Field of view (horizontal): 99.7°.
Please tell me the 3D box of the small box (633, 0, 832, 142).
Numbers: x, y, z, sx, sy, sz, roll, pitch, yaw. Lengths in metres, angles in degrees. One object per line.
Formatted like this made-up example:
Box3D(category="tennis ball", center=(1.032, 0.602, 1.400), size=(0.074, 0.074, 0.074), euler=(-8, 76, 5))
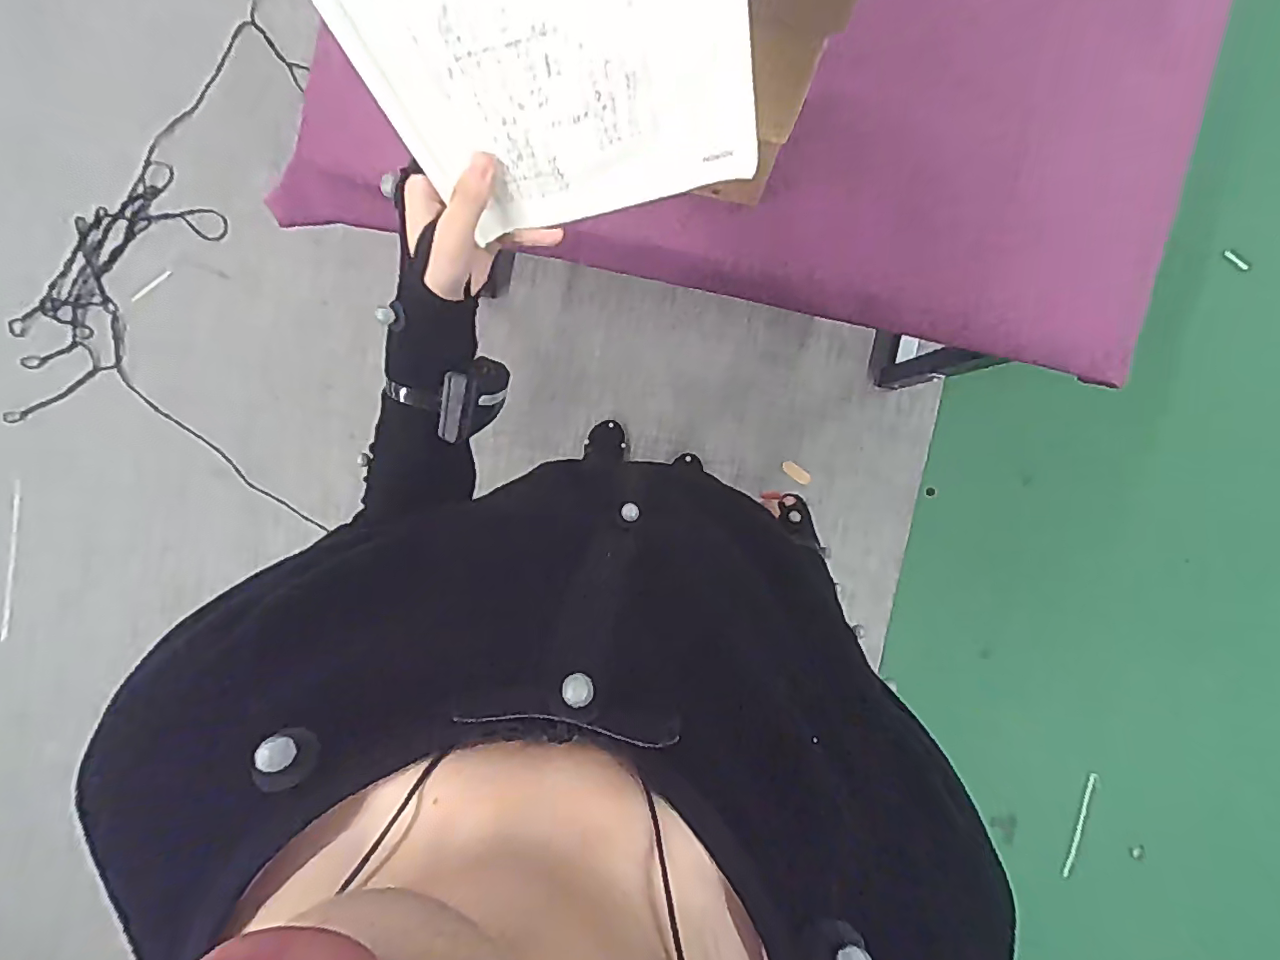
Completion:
Box3D(category="small box", center=(0.095, -0.464, 0.513), size=(0.168, 0.176, 0.179), euler=(13, 92, 1))
